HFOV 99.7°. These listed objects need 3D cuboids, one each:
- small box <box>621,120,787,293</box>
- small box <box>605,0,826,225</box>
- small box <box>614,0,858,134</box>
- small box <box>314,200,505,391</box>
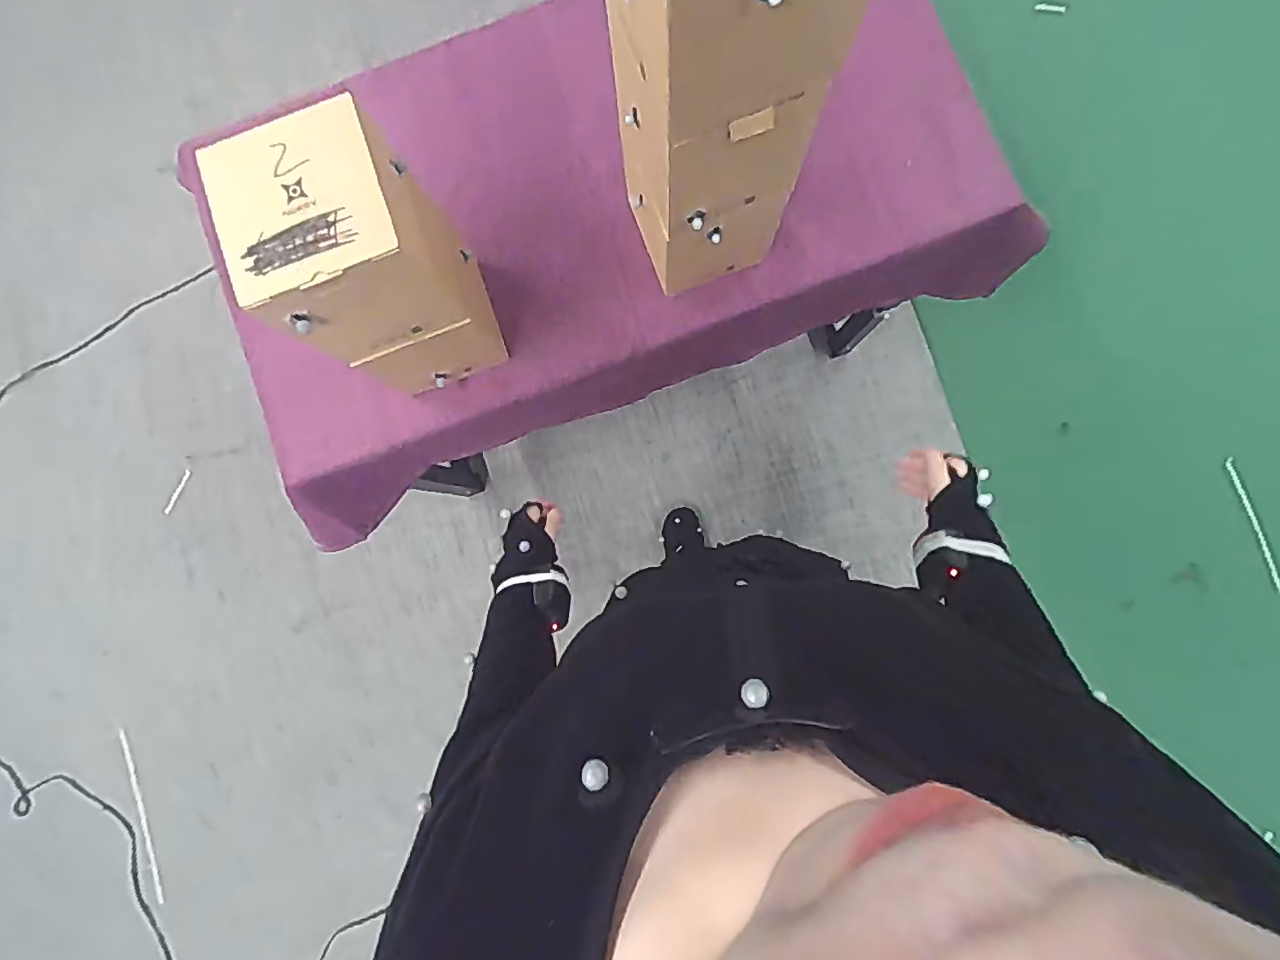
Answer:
[{"bbox_3d":[0.082,-0.396,0.754,0.168,0.176,0.179,-21,84,2],"label":"small box"},{"bbox_3d":[0.076,-0.411,0.591,0.168,0.176,0.179,-21,84,1],"label":"small box"},{"bbox_3d":[0.071,-0.421,0.426,0.179,0.176,0.168,-20,86,1],"label":"small box"},{"bbox_3d":[-0.310,-0.246,0.762,0.168,0.176,0.179,-19,86,2],"label":"small box"}]
